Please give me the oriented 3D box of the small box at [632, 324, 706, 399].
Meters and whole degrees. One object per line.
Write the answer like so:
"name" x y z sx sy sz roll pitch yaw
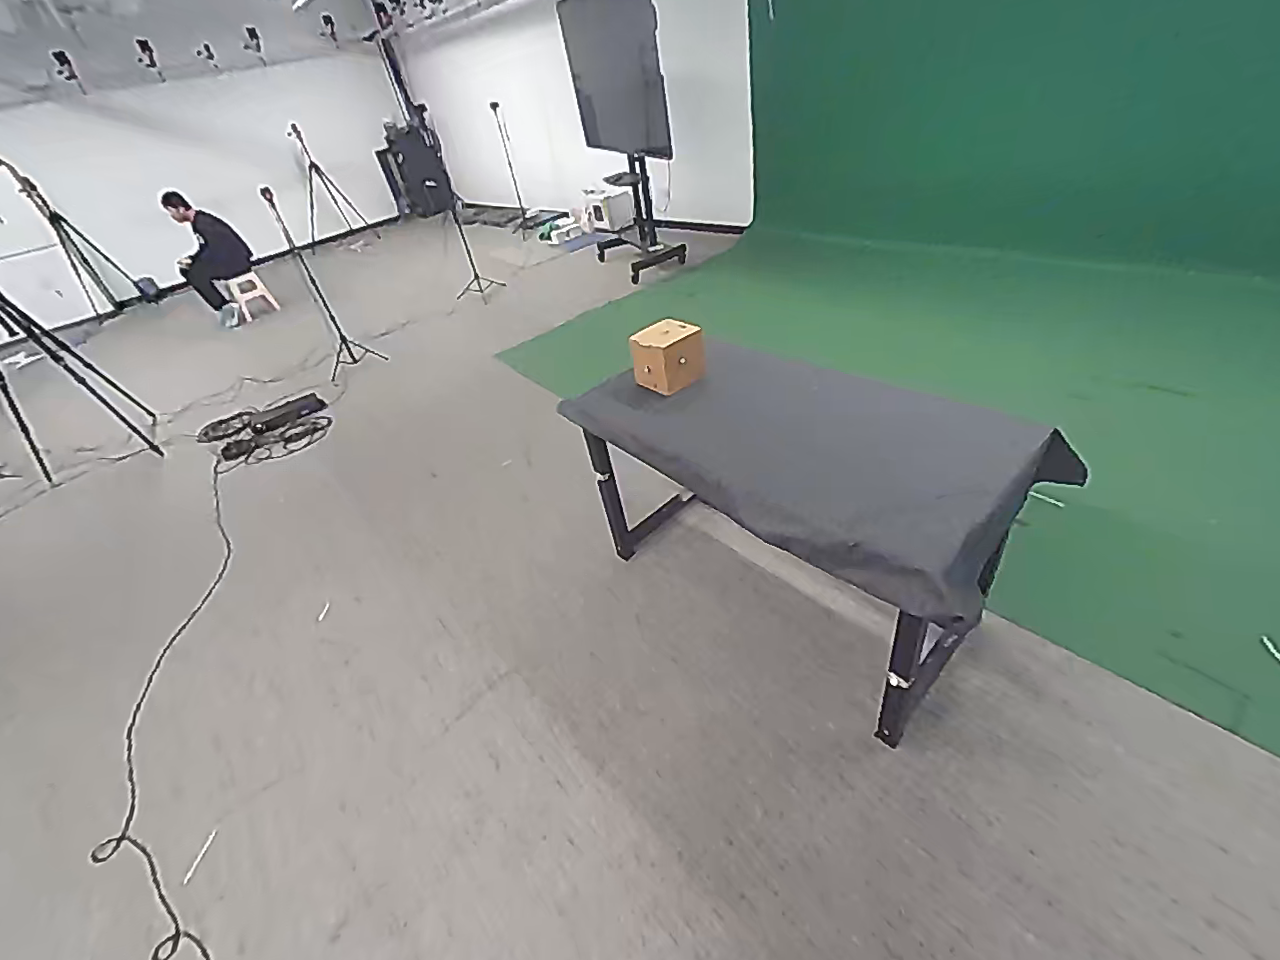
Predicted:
"small box" 0.103 -0.390 1.783 0.179 0.176 0.168 -33 43 -25
